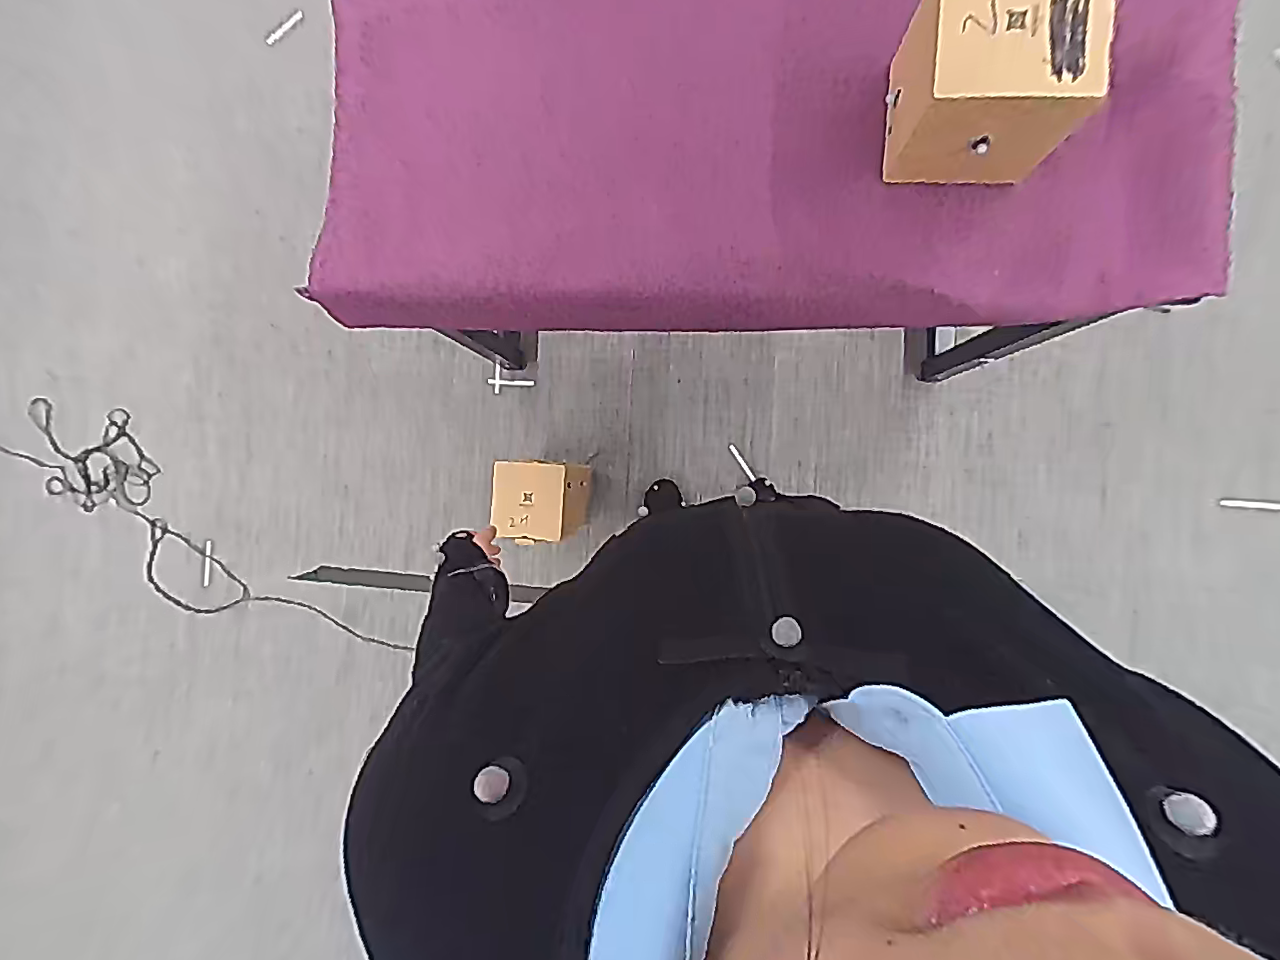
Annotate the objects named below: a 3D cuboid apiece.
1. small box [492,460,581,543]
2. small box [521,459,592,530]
[{"bbox_3d":[-0.240,0.047,1.290,0.168,0.176,0.179,4,91,5],"label":"small box"},{"bbox_3d":[-0.231,0.042,1.455,0.168,0.176,0.179,9,91,5],"label":"small box"}]
